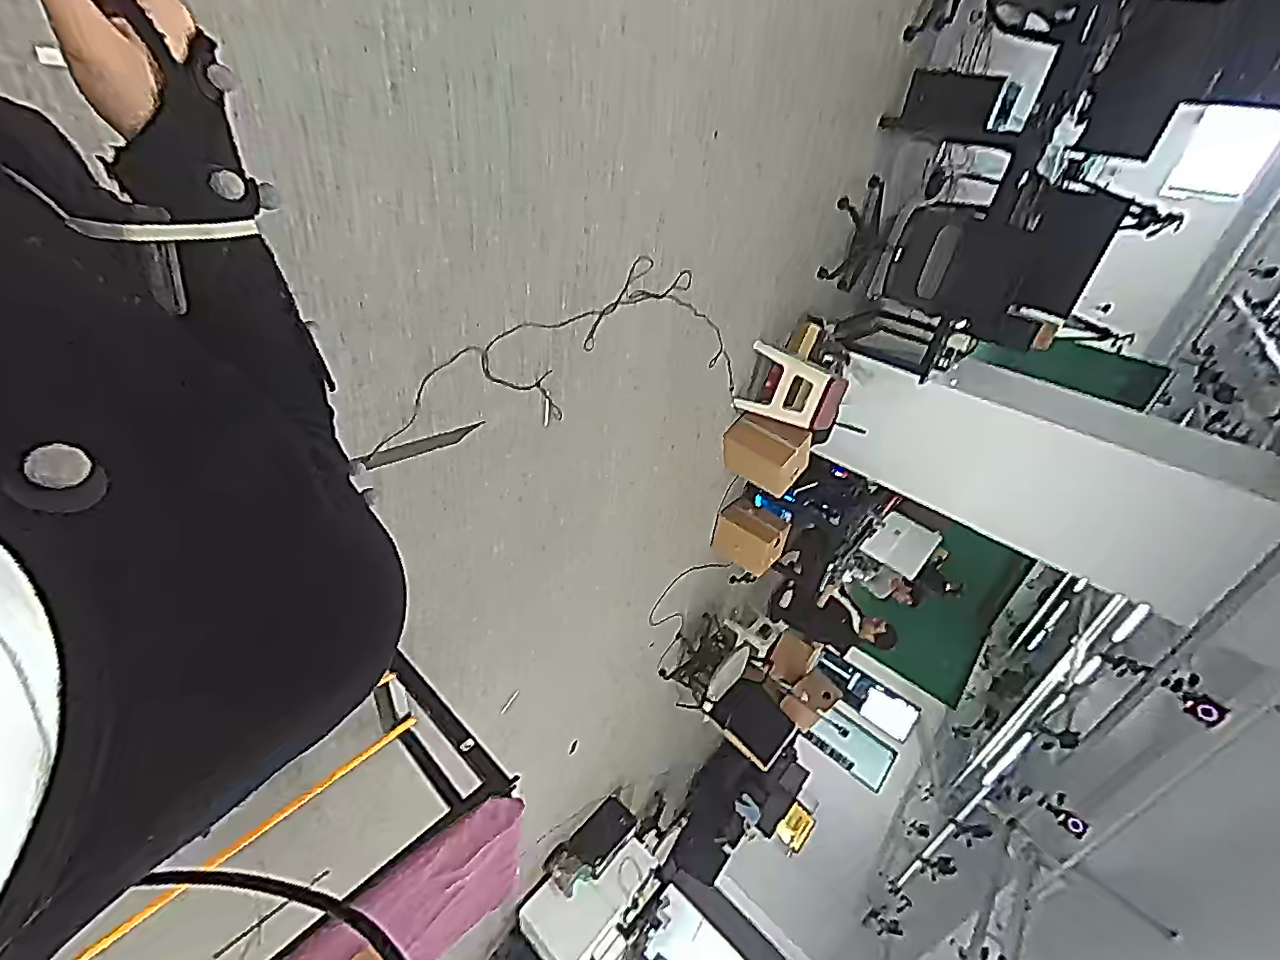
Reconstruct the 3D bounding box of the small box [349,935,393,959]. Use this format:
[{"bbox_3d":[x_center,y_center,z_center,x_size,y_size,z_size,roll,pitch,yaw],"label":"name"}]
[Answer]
[{"bbox_3d":[-0.649,1.225,1.255,0.179,0.176,0.168,-26,137,-43],"label":"small box"}]
